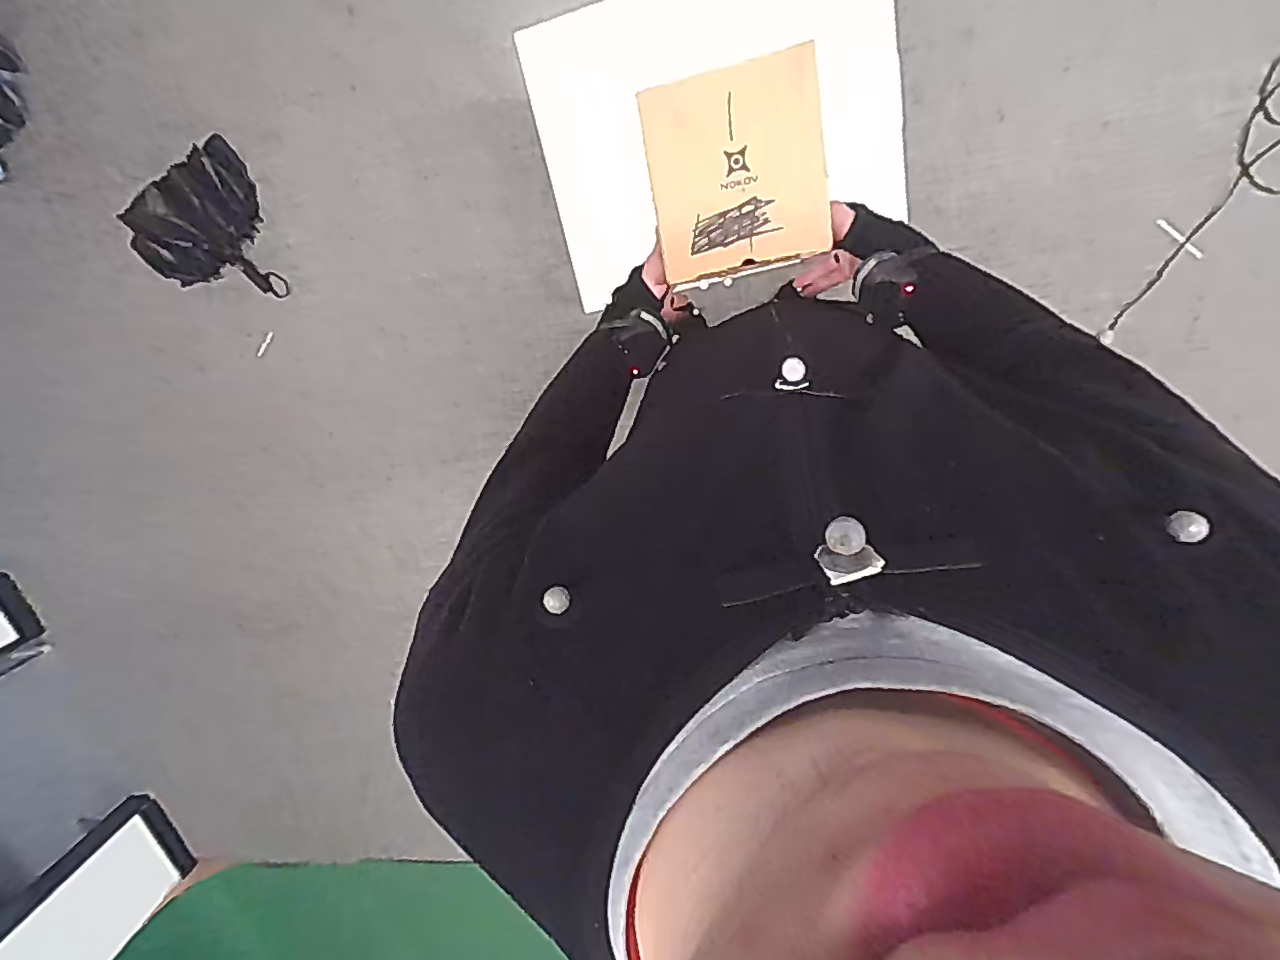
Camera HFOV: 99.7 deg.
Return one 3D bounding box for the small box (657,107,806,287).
[{"bbox_3d":[0.124,-0.372,0.746,0.168,0.176,0.179,-9,109,12],"label":"small box"}]
